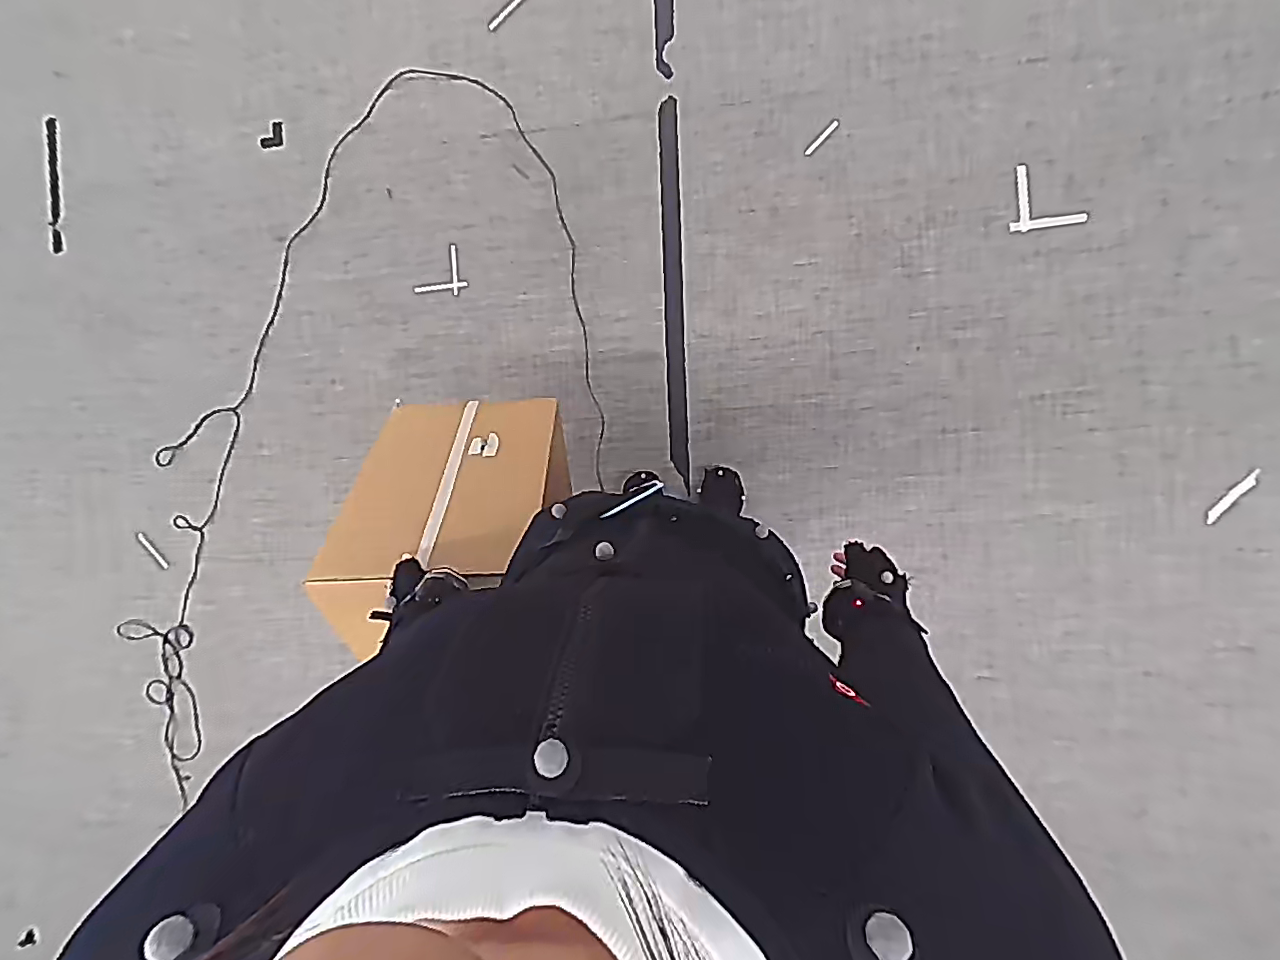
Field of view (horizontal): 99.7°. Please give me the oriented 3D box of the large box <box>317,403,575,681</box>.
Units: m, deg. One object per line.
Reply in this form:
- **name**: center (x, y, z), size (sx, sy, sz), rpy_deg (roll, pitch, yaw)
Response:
- **large box**: center (-0.300, 0.106, 0.991), size (0.320, 0.408, 0.320), rpy_deg (-2, 133, 1)
